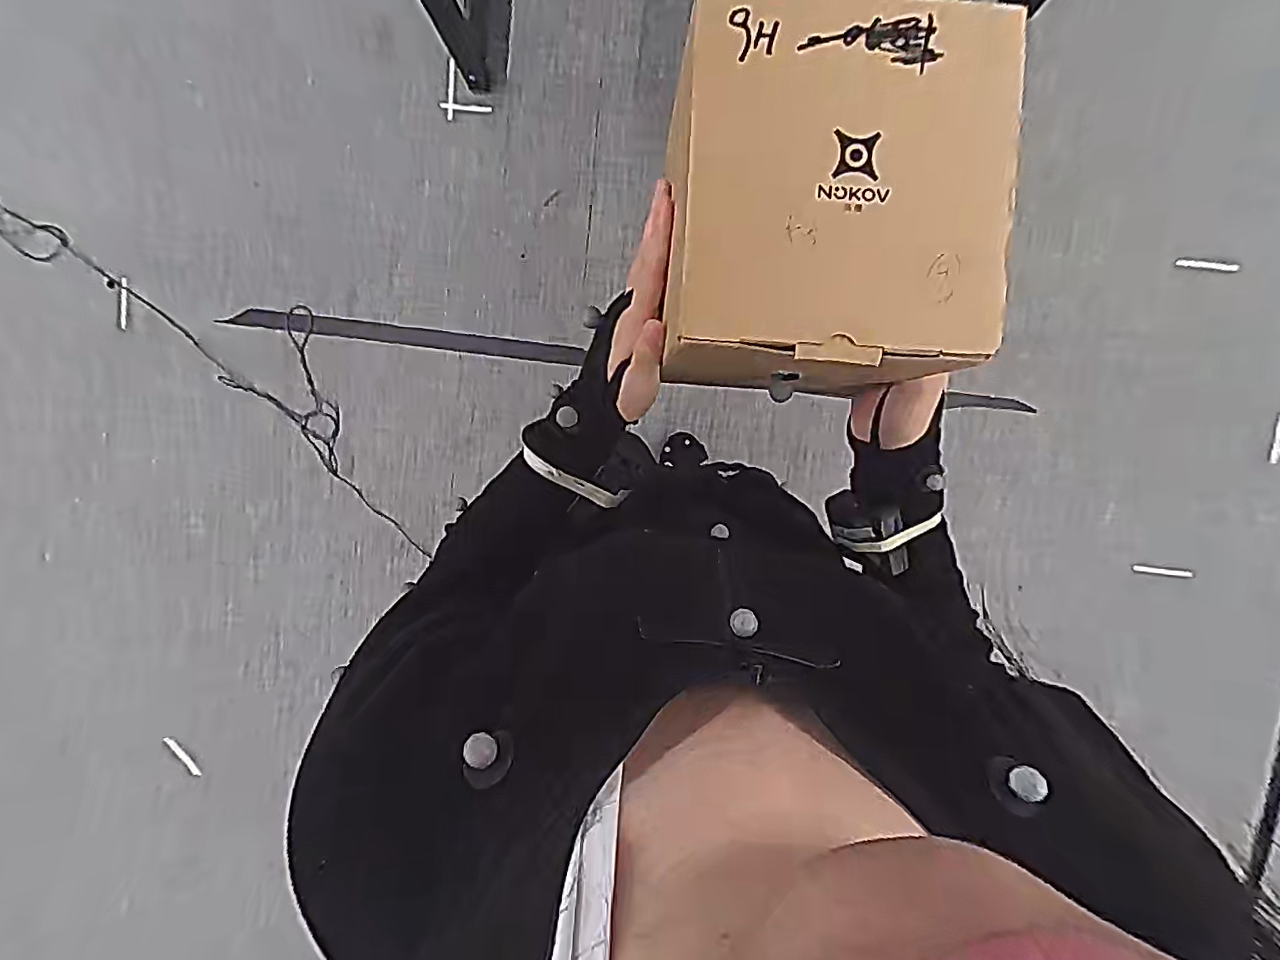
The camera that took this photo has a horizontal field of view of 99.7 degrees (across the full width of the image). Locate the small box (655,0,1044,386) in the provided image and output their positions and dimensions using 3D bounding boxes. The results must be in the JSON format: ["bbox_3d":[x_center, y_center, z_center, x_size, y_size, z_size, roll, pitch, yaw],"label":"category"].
[{"bbox_3d":[0.101,-0.156,0.340,0.168,0.176,0.179,3,94,-4],"label":"small box"}]

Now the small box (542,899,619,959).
[{"bbox_3d":[-0.152,1.195,1.350,0.179,0.176,0.168,9,96,-1],"label":"small box"}]

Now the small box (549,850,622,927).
[{"bbox_3d":[-0.151,1.178,1.513,0.179,0.176,0.168,8,96,0],"label":"small box"}]
